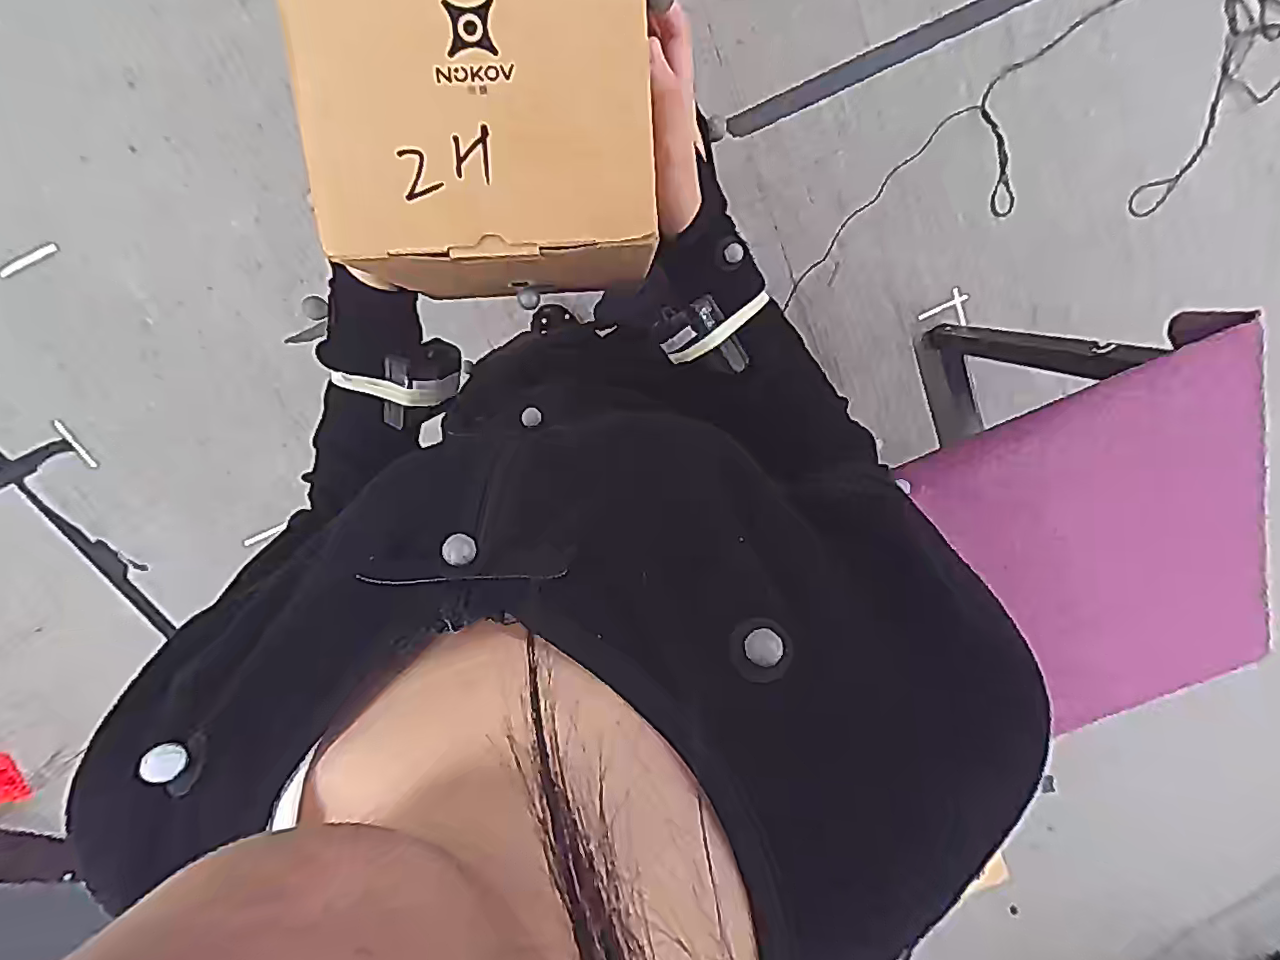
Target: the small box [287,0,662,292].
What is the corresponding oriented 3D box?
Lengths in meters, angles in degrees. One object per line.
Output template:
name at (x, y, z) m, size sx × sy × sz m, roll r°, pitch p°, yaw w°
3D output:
small box at (-0.078, -0.219, 0.324) m, size 0.168 × 0.176 × 0.179 m, roll -4°, pitch 102°, yaw -2°
